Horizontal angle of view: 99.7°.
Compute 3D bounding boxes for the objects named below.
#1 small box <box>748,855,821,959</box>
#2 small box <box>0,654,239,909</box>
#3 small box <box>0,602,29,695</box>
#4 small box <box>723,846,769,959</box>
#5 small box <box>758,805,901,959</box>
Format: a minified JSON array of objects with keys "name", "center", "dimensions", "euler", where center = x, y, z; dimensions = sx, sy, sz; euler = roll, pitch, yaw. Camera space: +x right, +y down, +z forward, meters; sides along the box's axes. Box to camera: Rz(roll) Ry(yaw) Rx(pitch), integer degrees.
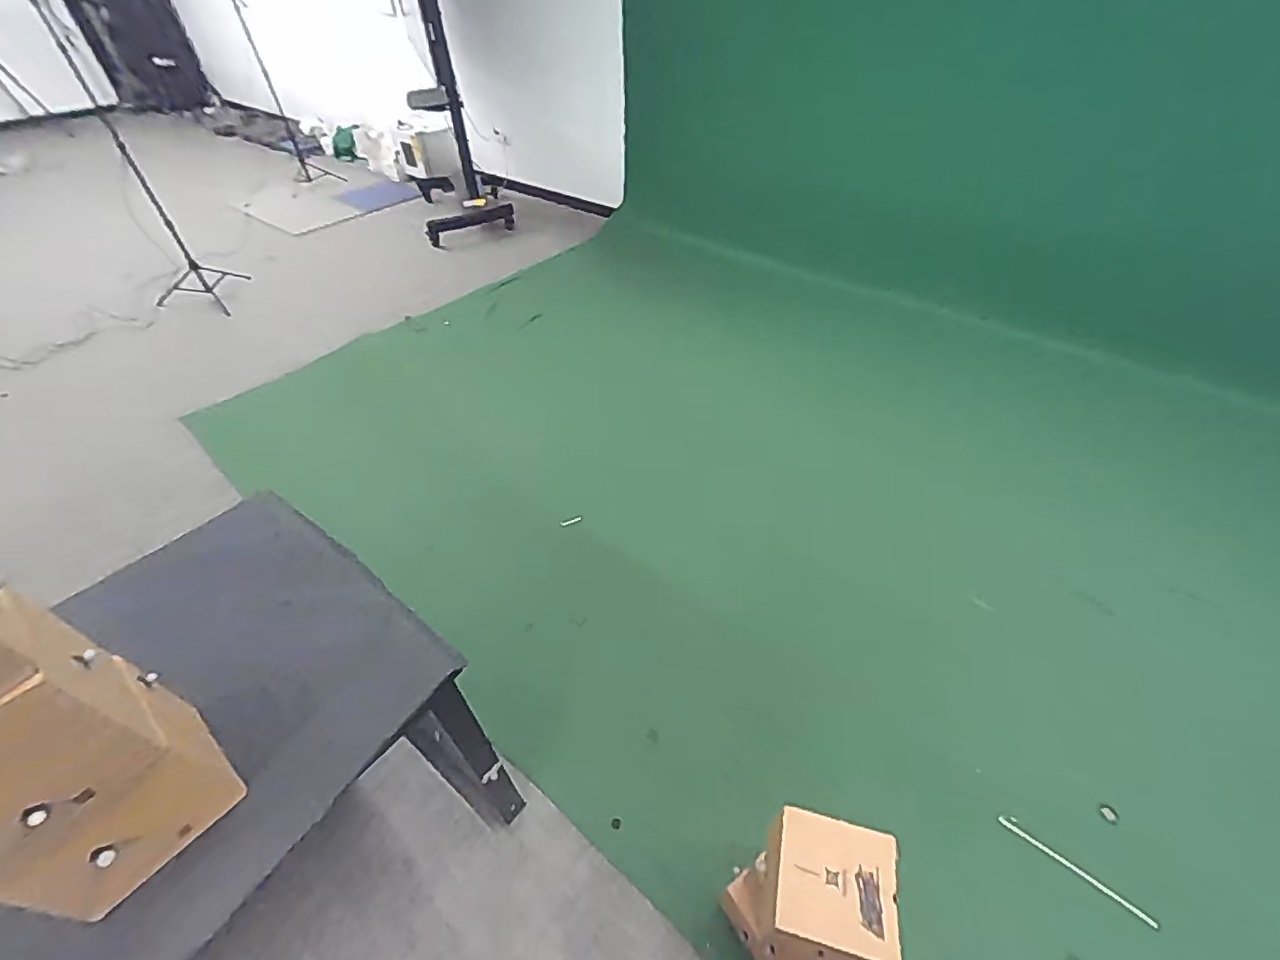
[{"name":"small box","center":[0.305,0.773,0.980],"dimensions":[0.179,0.176,0.168],"euler":[-10,48,-10]},{"name":"small box","center":[-0.609,0.342,0.614],"dimensions":[0.179,0.176,0.168],"euler":[28,52,27]},{"name":"small box","center":[-0.616,0.111,0.381],"dimensions":[0.179,0.176,0.168],"euler":[25,51,25]},{"name":"small box","center":[0.285,0.870,1.113],"dimensions":[0.179,0.176,0.168],"euler":[-26,51,-24]},{"name":"small box","center":[0.298,0.654,0.867],"dimensions":[0.179,0.176,0.168],"euler":[11,48,12]}]
